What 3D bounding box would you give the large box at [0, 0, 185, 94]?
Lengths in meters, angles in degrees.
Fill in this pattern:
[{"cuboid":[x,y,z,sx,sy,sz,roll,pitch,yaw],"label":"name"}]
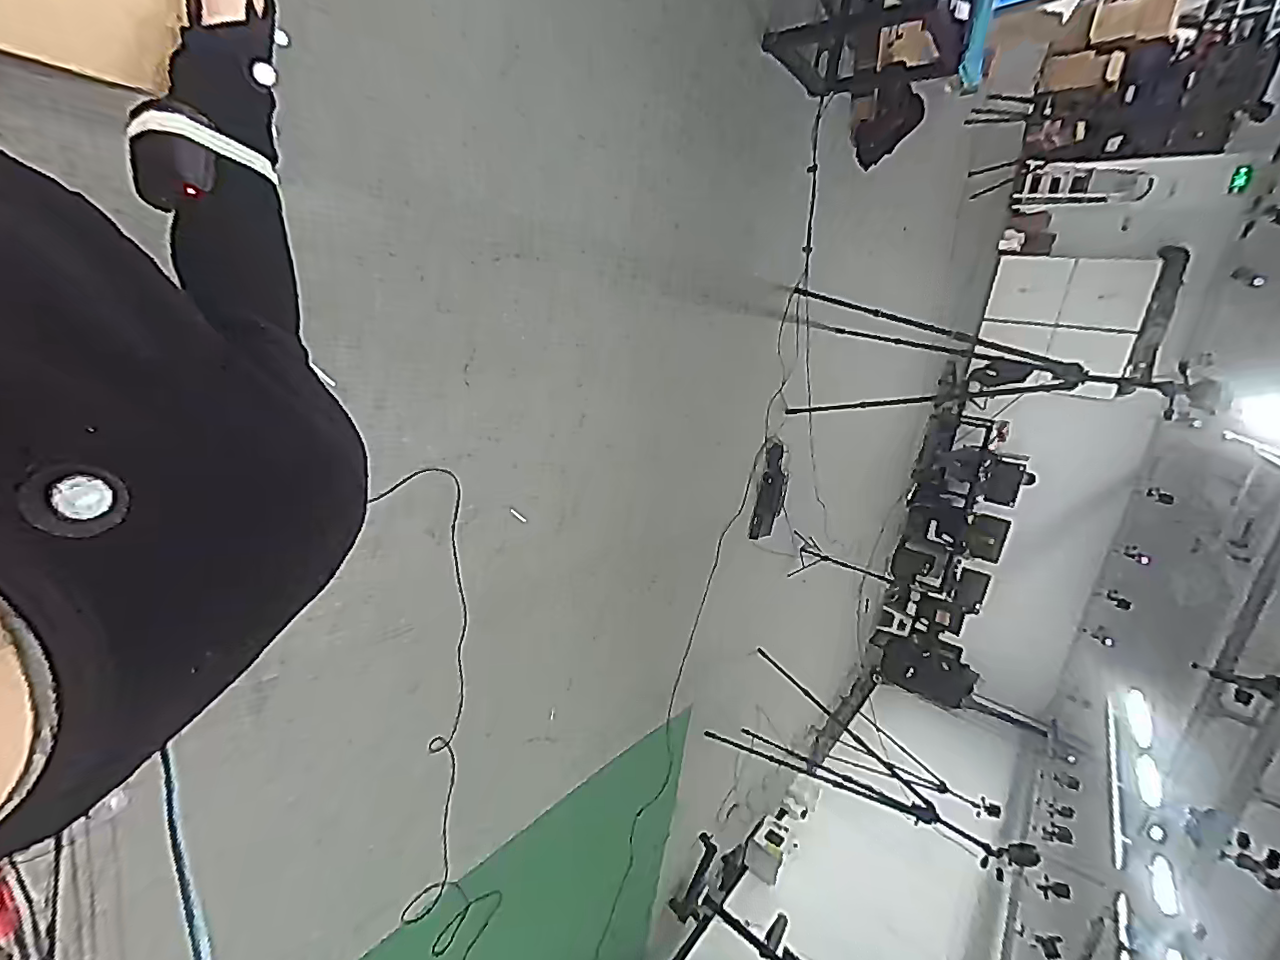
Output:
[{"cuboid":[-0.575,-0.475,0.304,0.408,0.320,0.320,-20,131,-53],"label":"large box"}]
